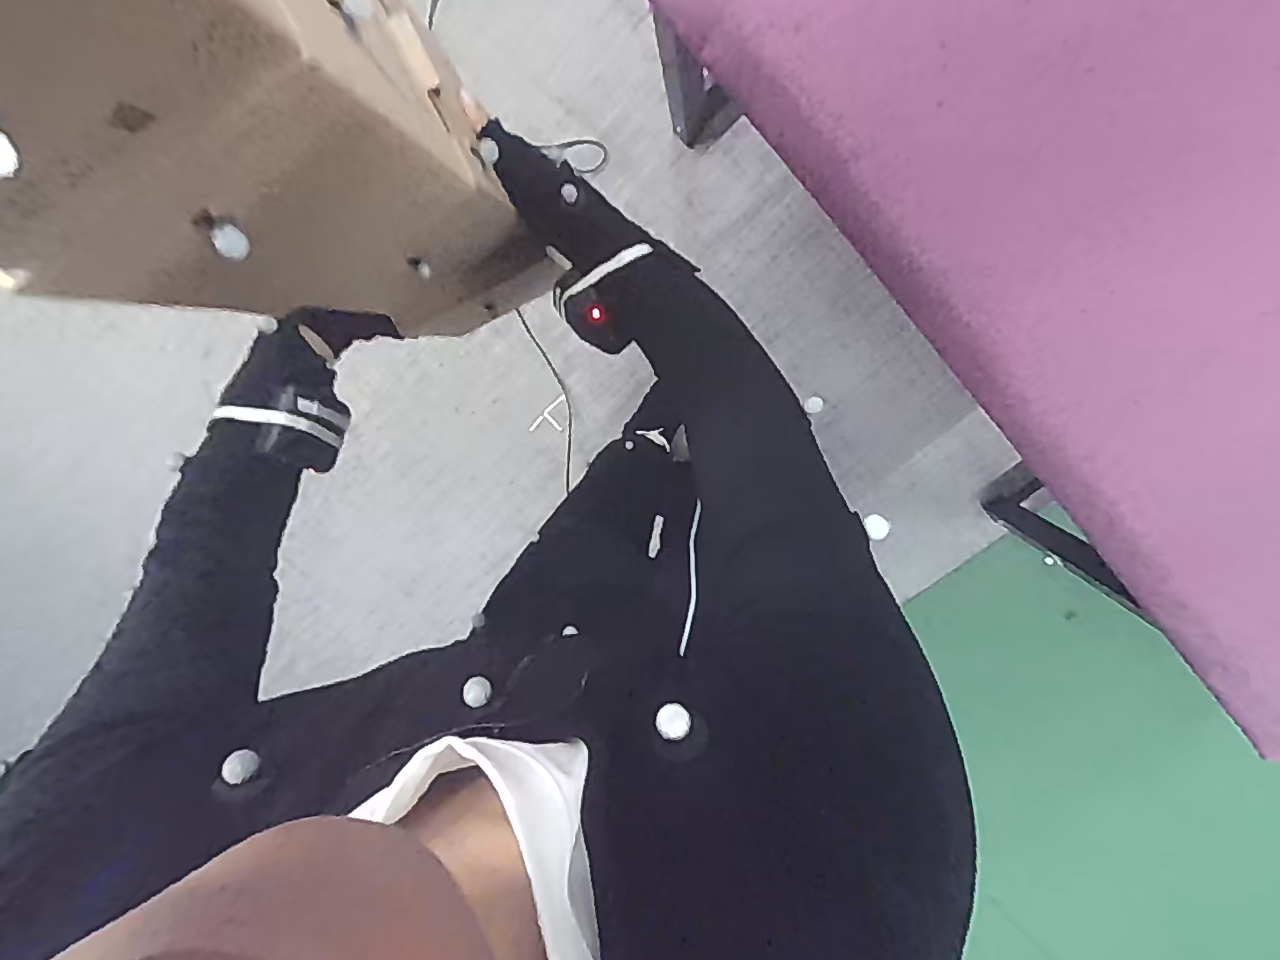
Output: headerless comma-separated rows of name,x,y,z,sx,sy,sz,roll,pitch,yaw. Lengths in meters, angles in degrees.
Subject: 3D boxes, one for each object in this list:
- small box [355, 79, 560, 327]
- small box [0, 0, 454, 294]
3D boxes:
small box,-0.200,-0.281,0.594,0.179,0.176,0.168,-23,102,9
small box,-0.220,-0.212,0.275,0.179,0.176,0.168,-25,102,10
